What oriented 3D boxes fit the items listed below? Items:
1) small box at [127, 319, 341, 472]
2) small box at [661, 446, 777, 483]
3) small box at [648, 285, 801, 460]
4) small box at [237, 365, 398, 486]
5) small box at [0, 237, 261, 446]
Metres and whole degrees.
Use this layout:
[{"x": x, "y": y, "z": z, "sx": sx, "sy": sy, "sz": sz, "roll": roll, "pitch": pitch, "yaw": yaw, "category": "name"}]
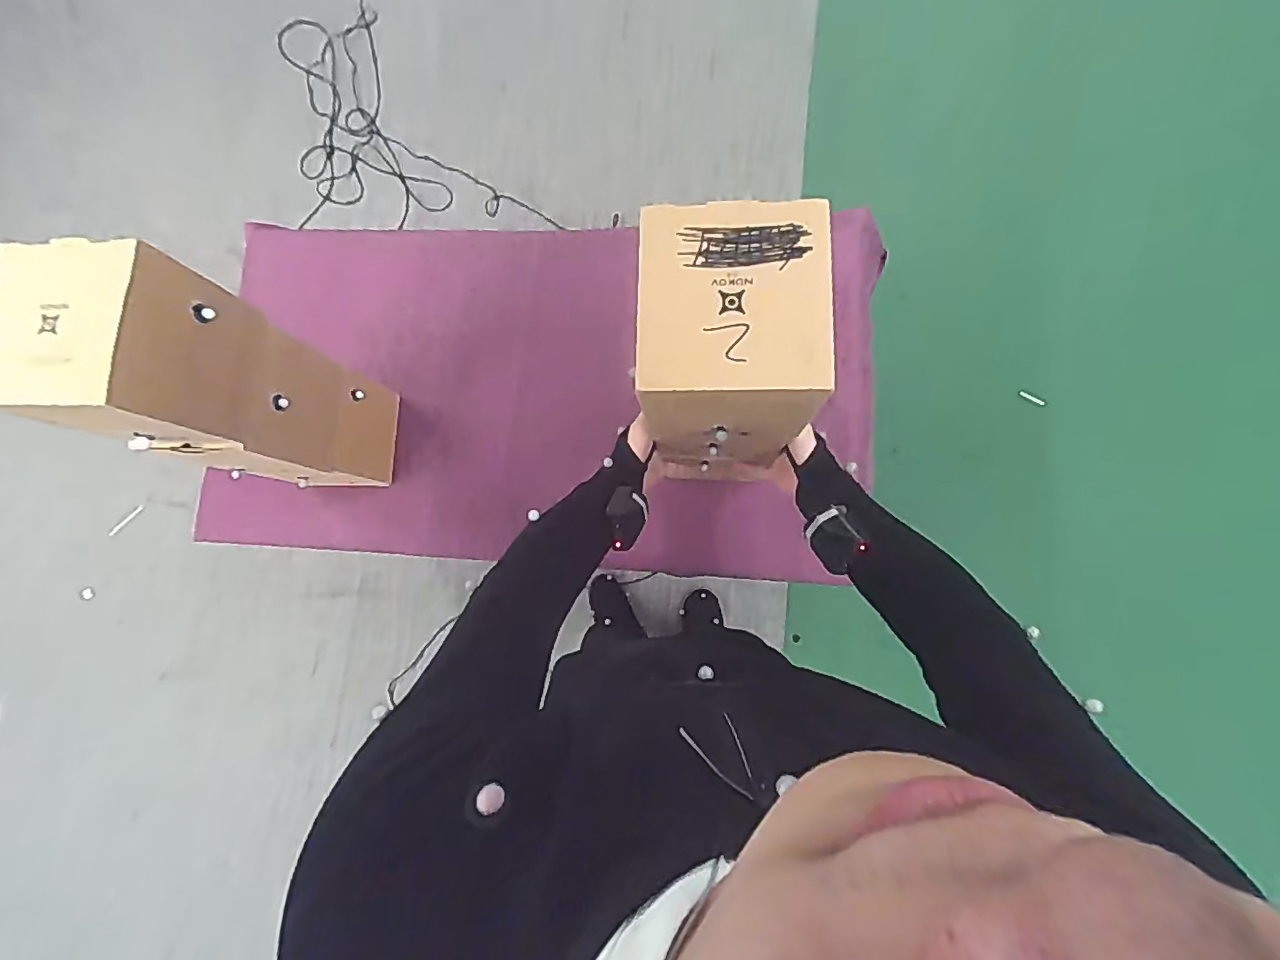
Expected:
[{"x": -0.558, "y": -0.110, "z": 0.768, "sx": 0.168, "sy": 0.176, "sz": 0.179, "roll": 2, "pitch": 80, "yaw": 6, "category": "small box"}, {"x": 0.125, "y": -0.098, "z": 0.859, "sx": 0.168, "sy": 0.176, "sz": 0.179, "roll": 2, "pitch": 80, "yaw": 8, "category": "small box"}, {"x": 0.106, "y": -0.128, "z": 0.697, "sx": 0.168, "sy": 0.176, "sz": 0.179, "roll": 4, "pitch": 80, "yaw": 7, "category": "small box"}, {"x": -0.541, "y": -0.085, "z": 0.929, "sx": 0.168, "sy": 0.176, "sz": 0.179, "roll": 1, "pitch": 80, "yaw": 6, "category": "small box"}, {"x": -0.571, "y": -0.145, "z": 0.608, "sx": 0.168, "sy": 0.176, "sz": 0.179, "roll": 2, "pitch": 81, "yaw": 7, "category": "small box"}]
